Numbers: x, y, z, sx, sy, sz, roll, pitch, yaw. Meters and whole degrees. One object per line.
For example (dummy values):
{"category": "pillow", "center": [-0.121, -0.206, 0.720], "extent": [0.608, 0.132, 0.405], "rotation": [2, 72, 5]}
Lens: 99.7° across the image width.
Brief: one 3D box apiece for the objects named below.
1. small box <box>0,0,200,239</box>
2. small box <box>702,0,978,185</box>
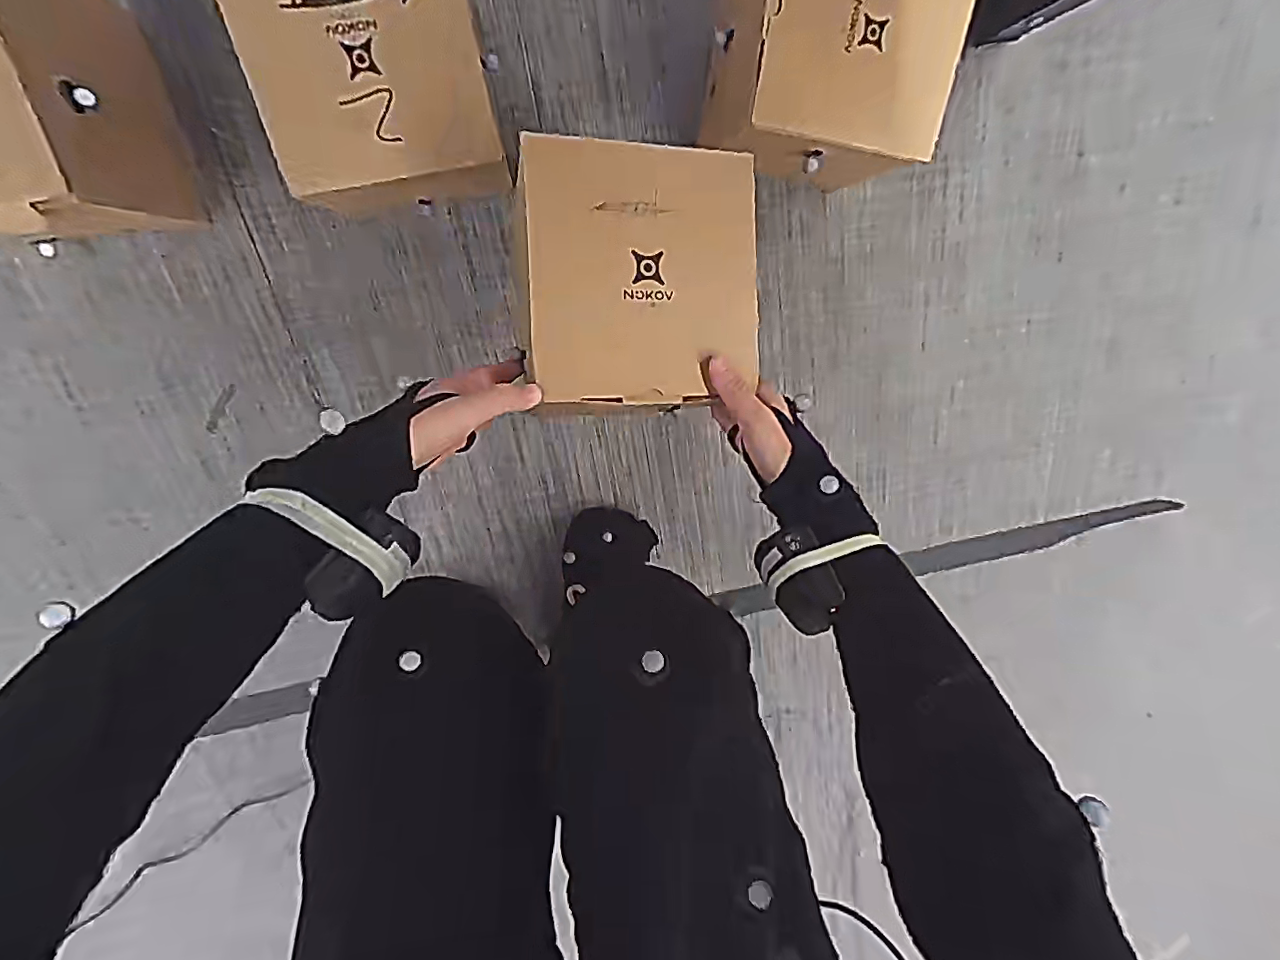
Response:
{"category": "small box", "center": [-0.504, -0.293, 0.424], "extent": [0.168, 0.176, 0.179], "rotation": [-11, 111, -7]}
{"category": "small box", "center": [0.175, -0.392, 0.513], "extent": [0.179, 0.176, 0.168], "rotation": [4, 110, -11]}
